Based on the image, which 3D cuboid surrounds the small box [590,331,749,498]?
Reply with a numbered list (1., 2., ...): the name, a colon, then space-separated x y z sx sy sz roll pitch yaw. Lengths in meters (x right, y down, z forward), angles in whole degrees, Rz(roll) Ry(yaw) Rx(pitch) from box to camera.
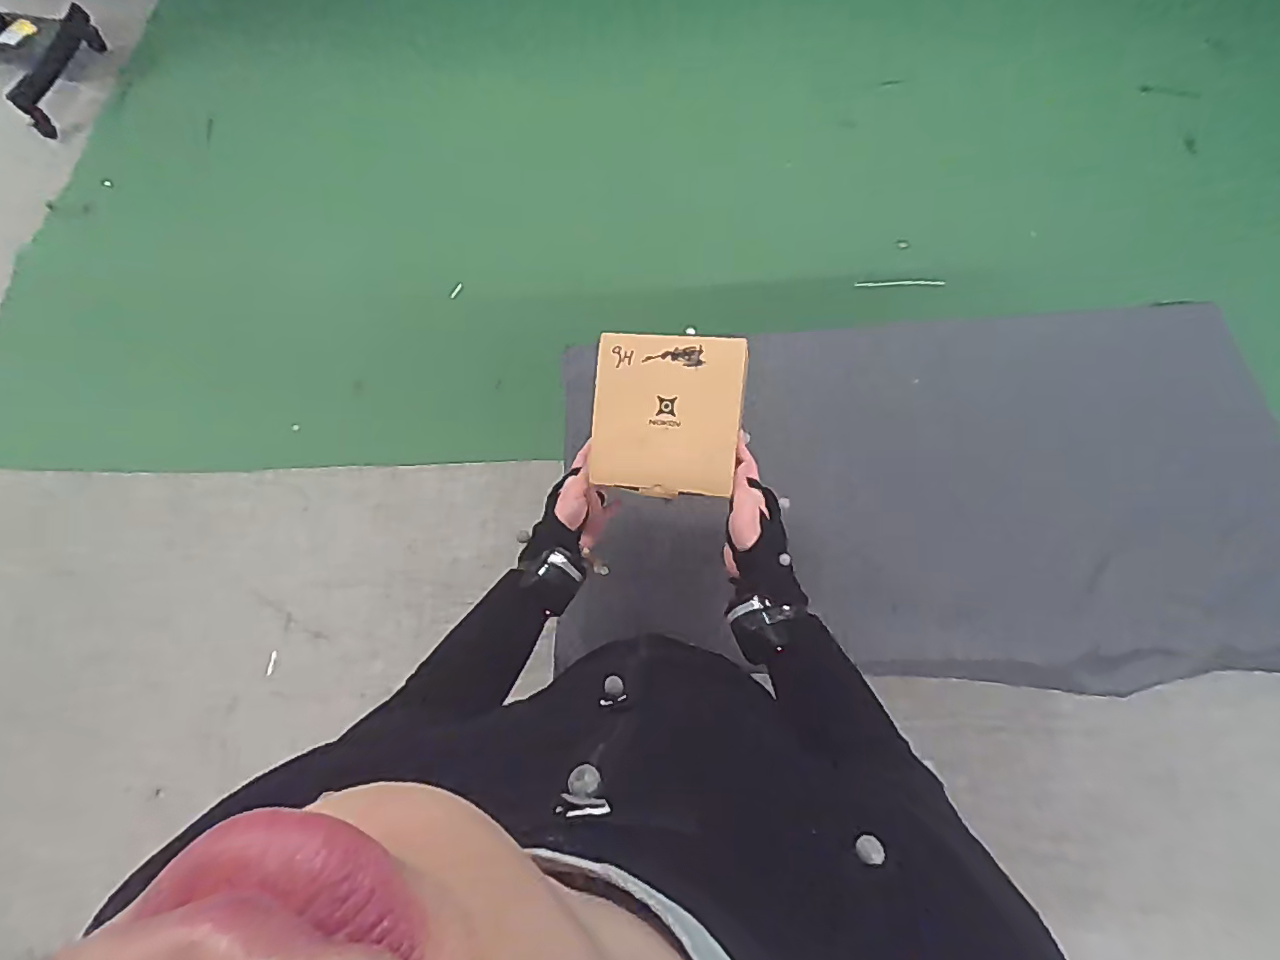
1. small box: 0.045 -0.078 0.673 0.168 0.176 0.179 5 94 11
